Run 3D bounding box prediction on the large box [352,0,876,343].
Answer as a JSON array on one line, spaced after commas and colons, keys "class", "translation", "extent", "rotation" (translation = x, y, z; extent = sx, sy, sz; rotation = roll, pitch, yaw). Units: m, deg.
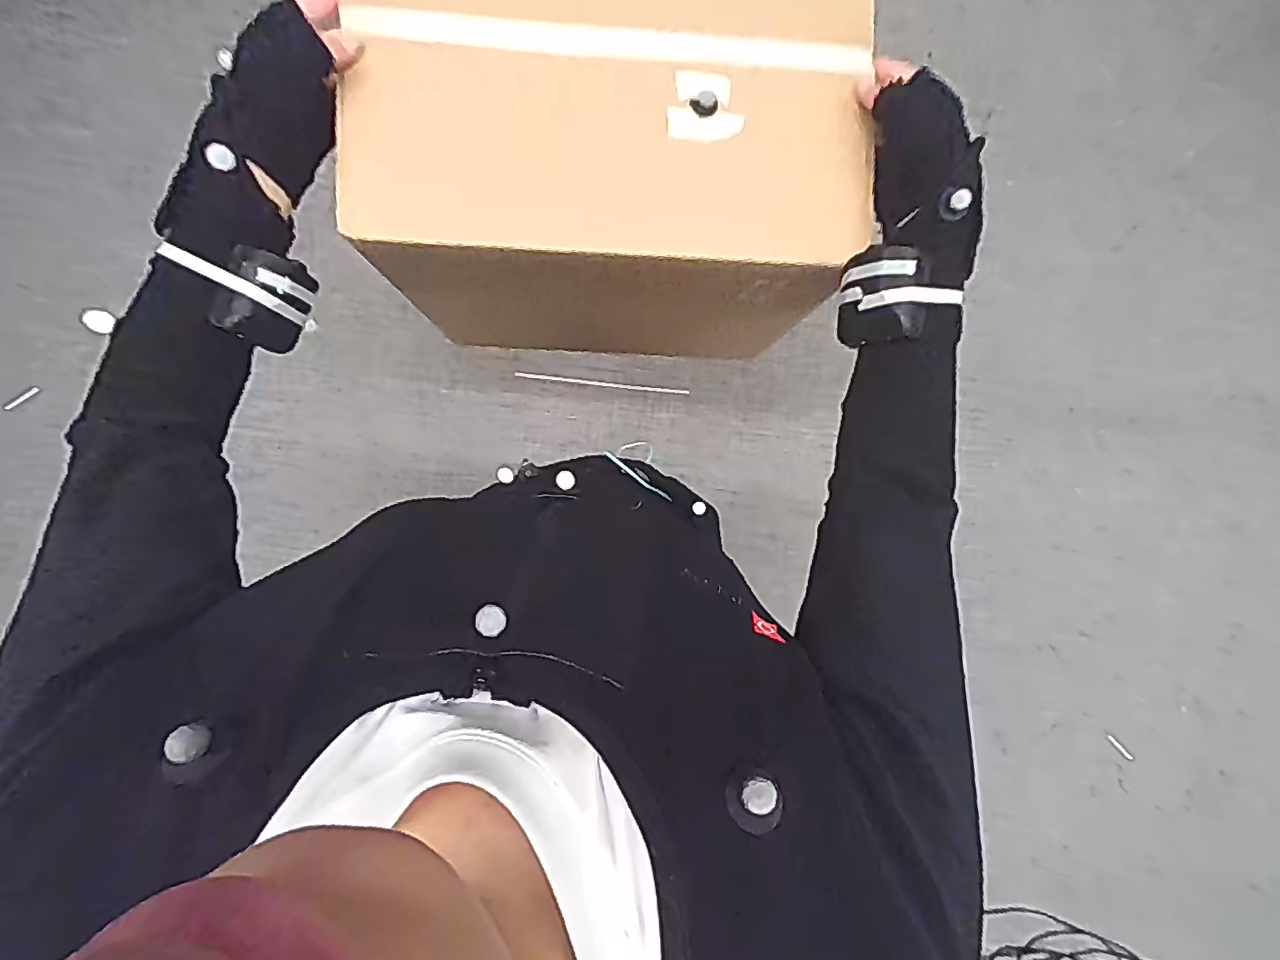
[{"class": "large box", "translation": [-0.026, -0.338, 0.561], "extent": [0.408, 0.320, 0.320], "rotation": [2, 90, -5]}]
